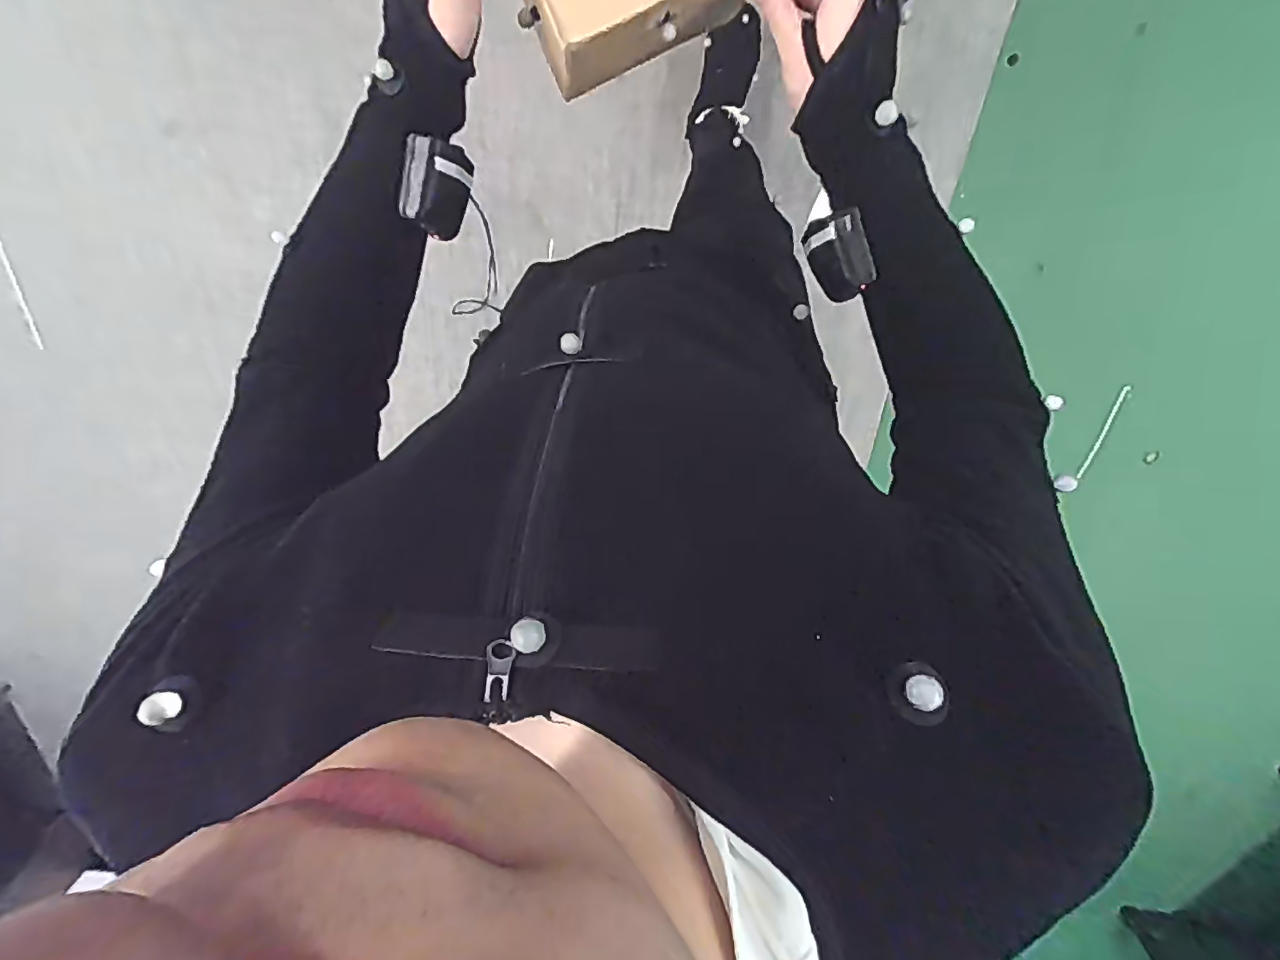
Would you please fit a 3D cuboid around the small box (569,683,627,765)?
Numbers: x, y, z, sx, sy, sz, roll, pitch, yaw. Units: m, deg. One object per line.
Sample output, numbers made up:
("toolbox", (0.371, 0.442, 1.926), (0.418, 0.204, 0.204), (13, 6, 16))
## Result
("small box", (-0.138, 0.813, 1.807), (0.168, 0.176, 0.179), (8, 117, -1))
